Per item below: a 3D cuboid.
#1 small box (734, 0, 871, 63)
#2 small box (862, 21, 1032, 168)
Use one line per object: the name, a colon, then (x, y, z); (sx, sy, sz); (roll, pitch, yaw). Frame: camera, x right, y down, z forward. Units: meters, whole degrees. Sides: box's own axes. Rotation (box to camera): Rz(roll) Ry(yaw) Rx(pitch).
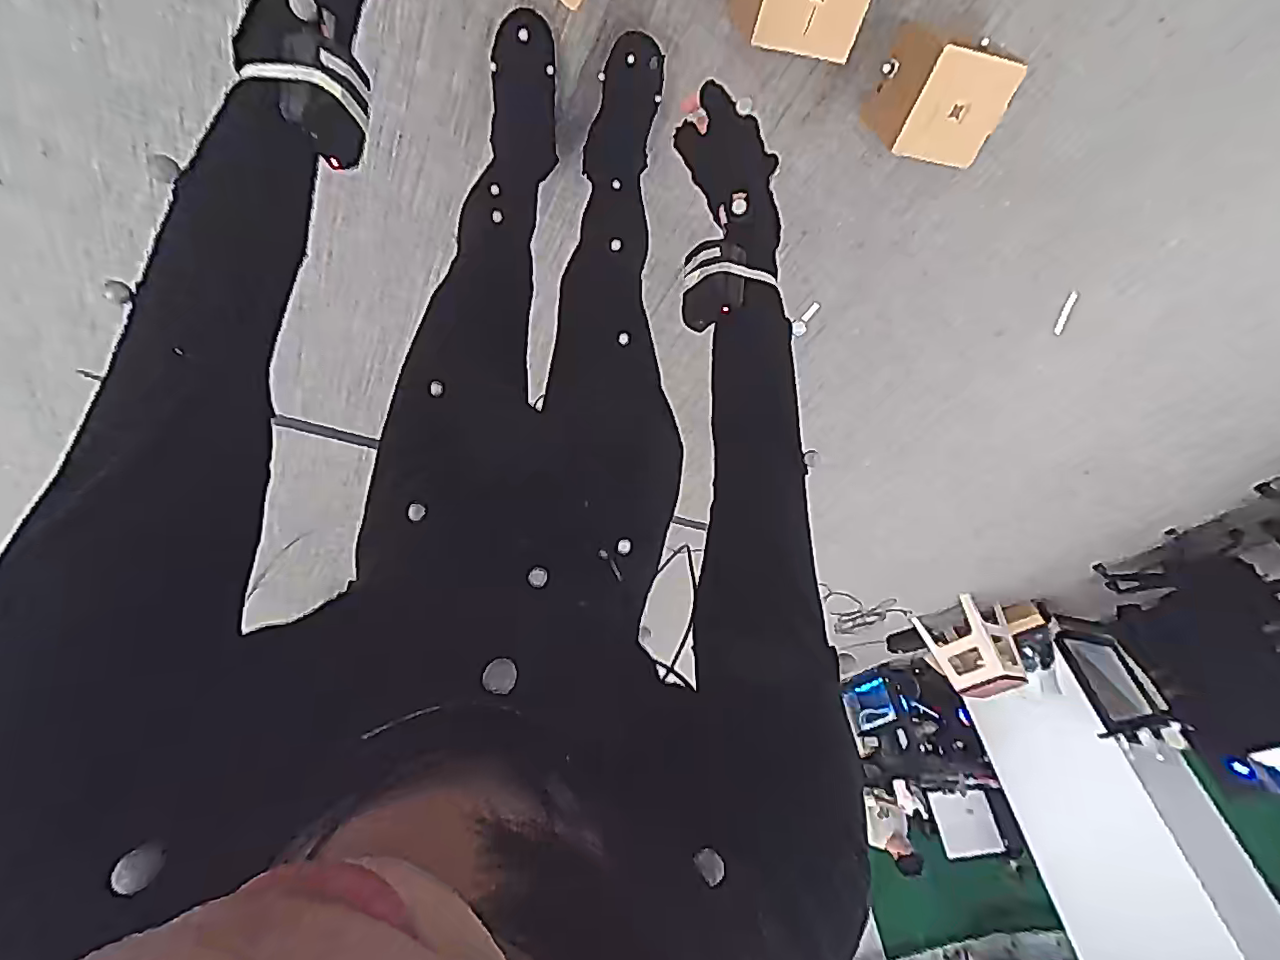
small box: (0.256, -0.787, 0.832); (0.168, 0.176, 0.179); (2, 142, -12)
small box: (0.547, -0.705, 0.990); (0.179, 0.176, 0.168); (3, 140, -12)
